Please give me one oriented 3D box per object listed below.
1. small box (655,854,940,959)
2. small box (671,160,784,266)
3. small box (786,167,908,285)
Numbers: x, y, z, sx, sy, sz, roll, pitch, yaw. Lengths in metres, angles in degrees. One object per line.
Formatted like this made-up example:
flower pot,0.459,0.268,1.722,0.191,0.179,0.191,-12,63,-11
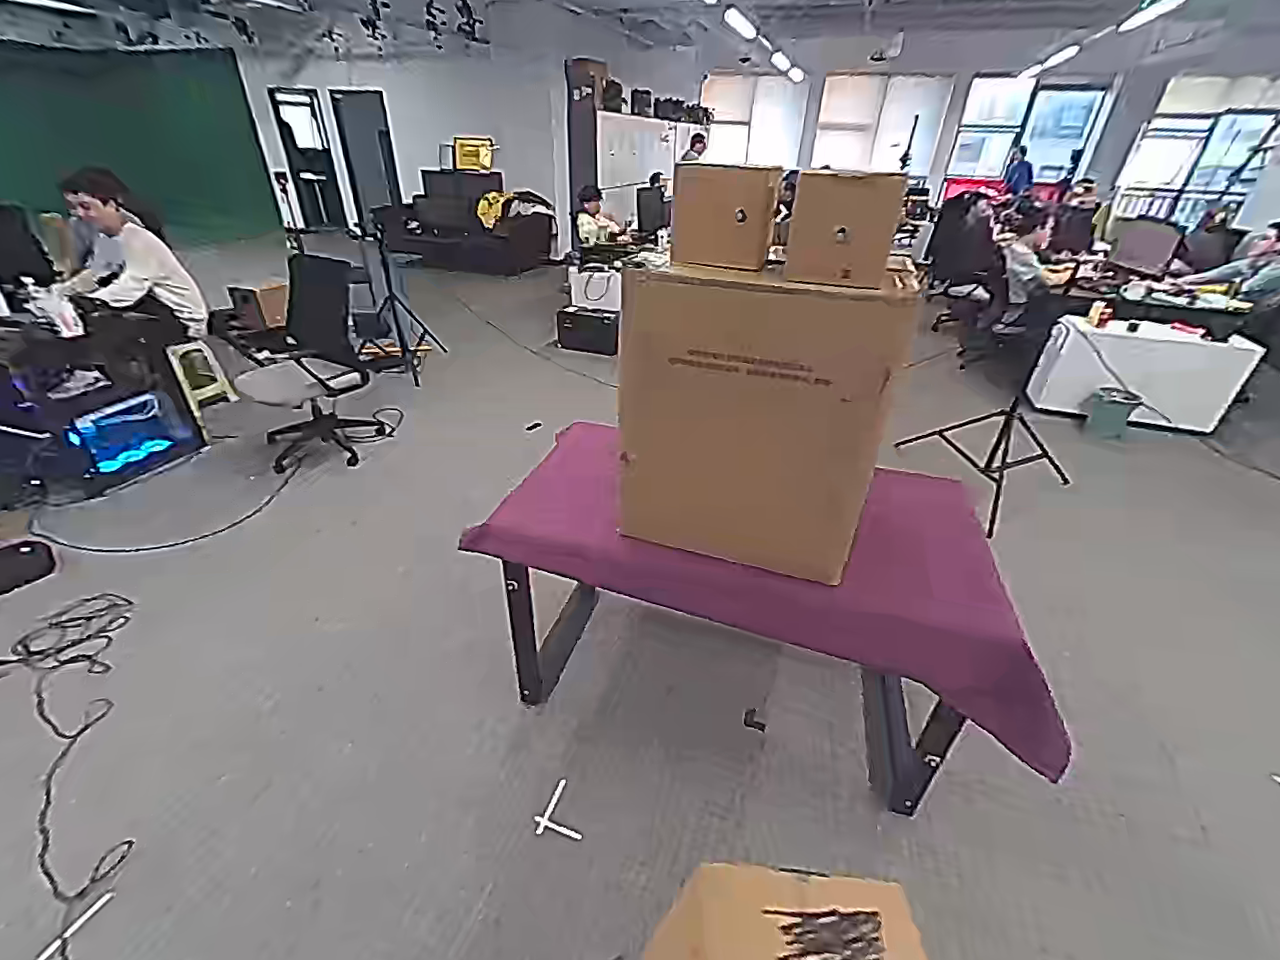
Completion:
small box,0.108,0.402,0.370,0.168,0.176,0.179,13,29,-8
small box,0.168,-0.516,1.043,0.179,0.176,0.168,12,33,16
small box,0.356,-0.445,0.942,0.168,0.176,0.179,12,33,17
